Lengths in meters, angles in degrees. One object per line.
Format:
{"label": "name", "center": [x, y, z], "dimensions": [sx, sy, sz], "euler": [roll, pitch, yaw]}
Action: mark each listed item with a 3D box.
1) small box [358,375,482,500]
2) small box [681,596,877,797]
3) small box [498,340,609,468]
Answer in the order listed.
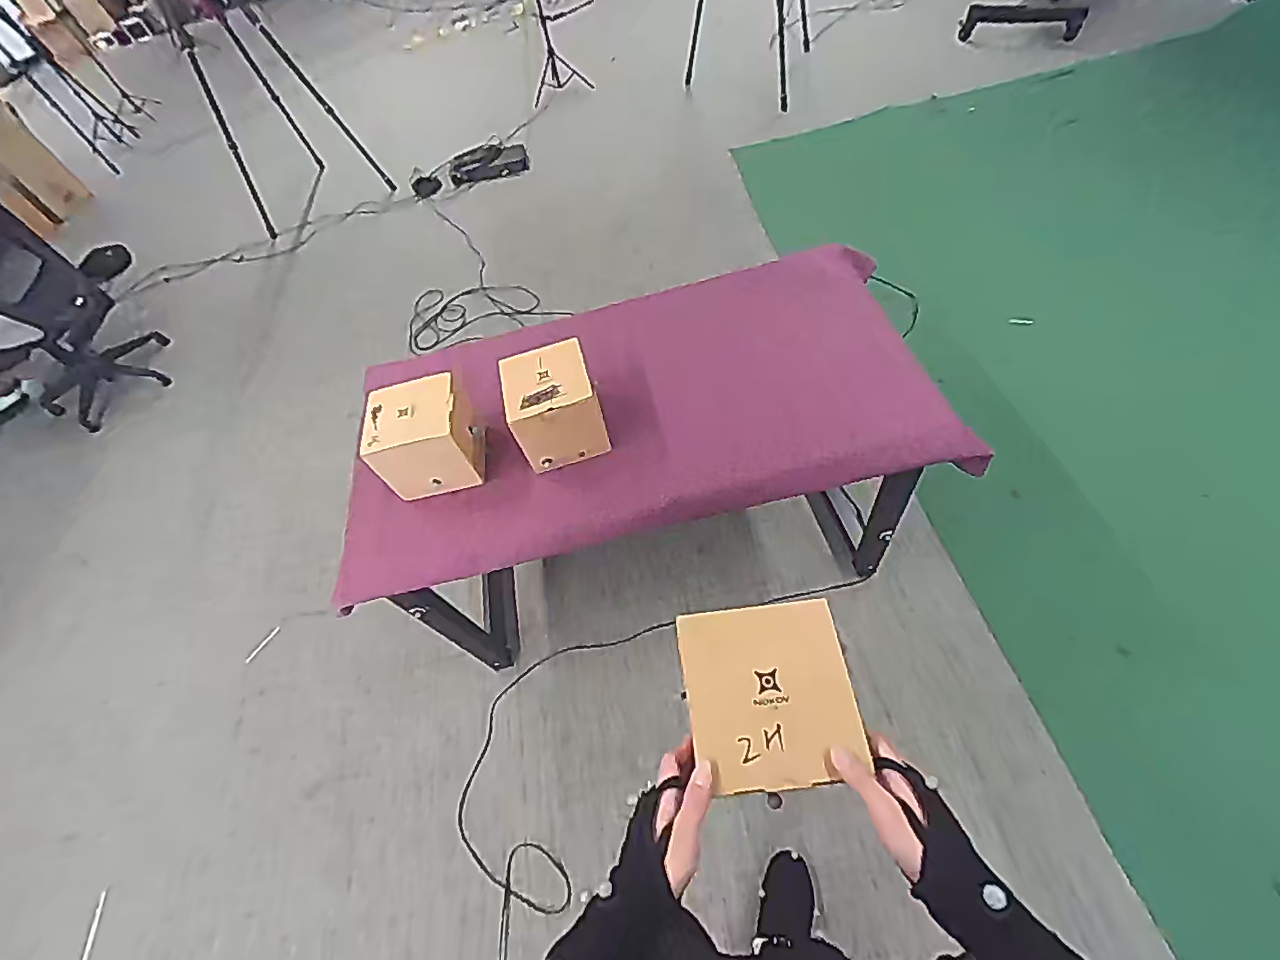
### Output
{"label": "small box", "center": [-0.429, -0.080, 1.087], "dimensions": [0.179, 0.176, 0.168], "euler": [-12, 55, 1]}
{"label": "small box", "center": [0.136, 0.248, 0.607], "dimensions": [0.168, 0.176, 0.179], "euler": [-7, 60, 2]}
{"label": "small box", "center": [-0.169, -0.143, 1.081], "dimensions": [0.168, 0.176, 0.179], "euler": [-17, 54, -1]}
